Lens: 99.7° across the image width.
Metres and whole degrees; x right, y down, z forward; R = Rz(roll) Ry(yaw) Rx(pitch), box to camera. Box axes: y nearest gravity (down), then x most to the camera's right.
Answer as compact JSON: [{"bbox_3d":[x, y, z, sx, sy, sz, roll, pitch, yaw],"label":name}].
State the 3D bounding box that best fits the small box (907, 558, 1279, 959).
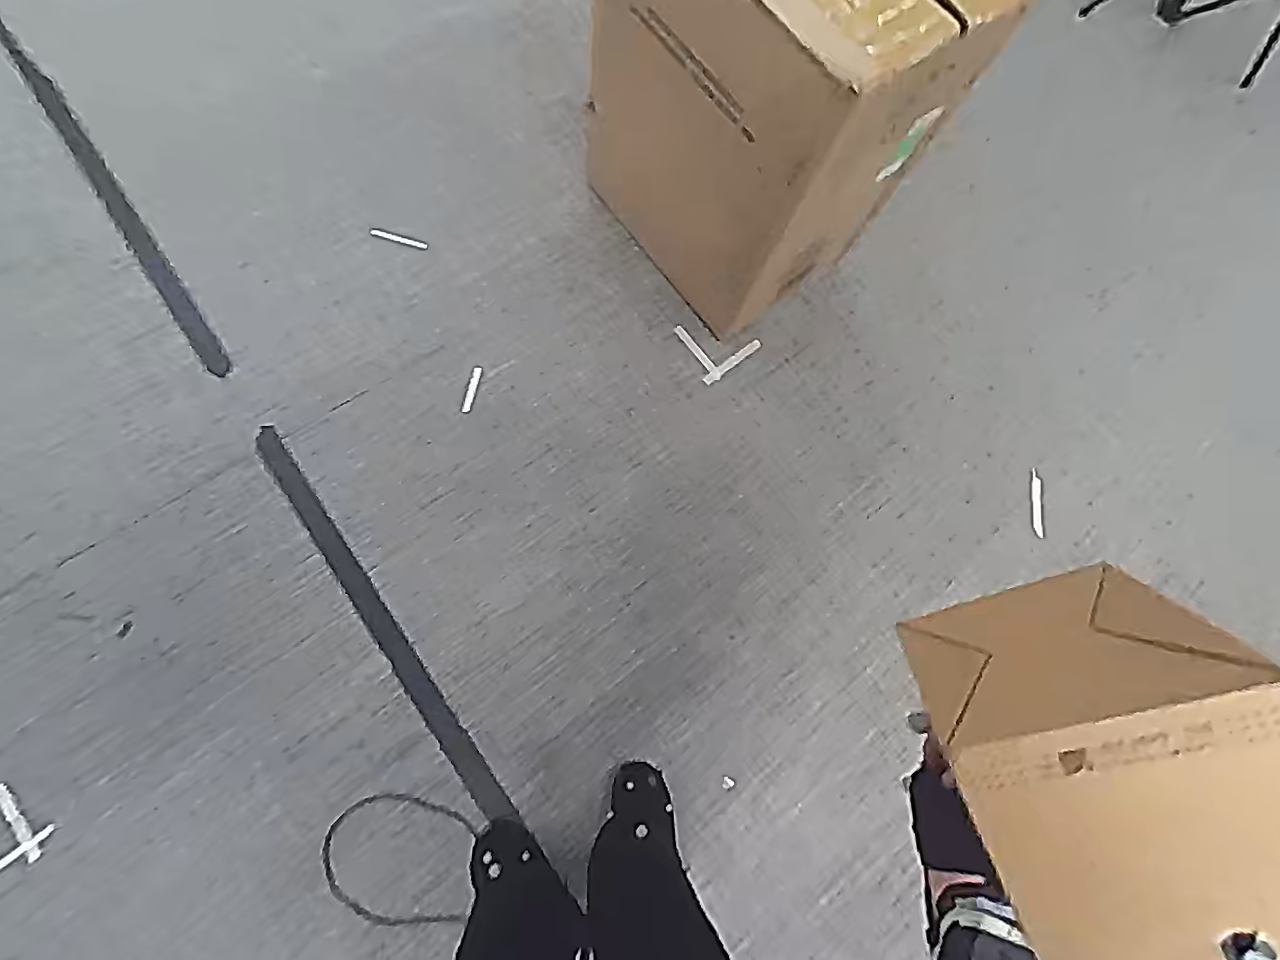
[{"bbox_3d":[0.300,0.171,0.356,0.168,0.179,0.176,-25,94,19],"label":"small box"}]
